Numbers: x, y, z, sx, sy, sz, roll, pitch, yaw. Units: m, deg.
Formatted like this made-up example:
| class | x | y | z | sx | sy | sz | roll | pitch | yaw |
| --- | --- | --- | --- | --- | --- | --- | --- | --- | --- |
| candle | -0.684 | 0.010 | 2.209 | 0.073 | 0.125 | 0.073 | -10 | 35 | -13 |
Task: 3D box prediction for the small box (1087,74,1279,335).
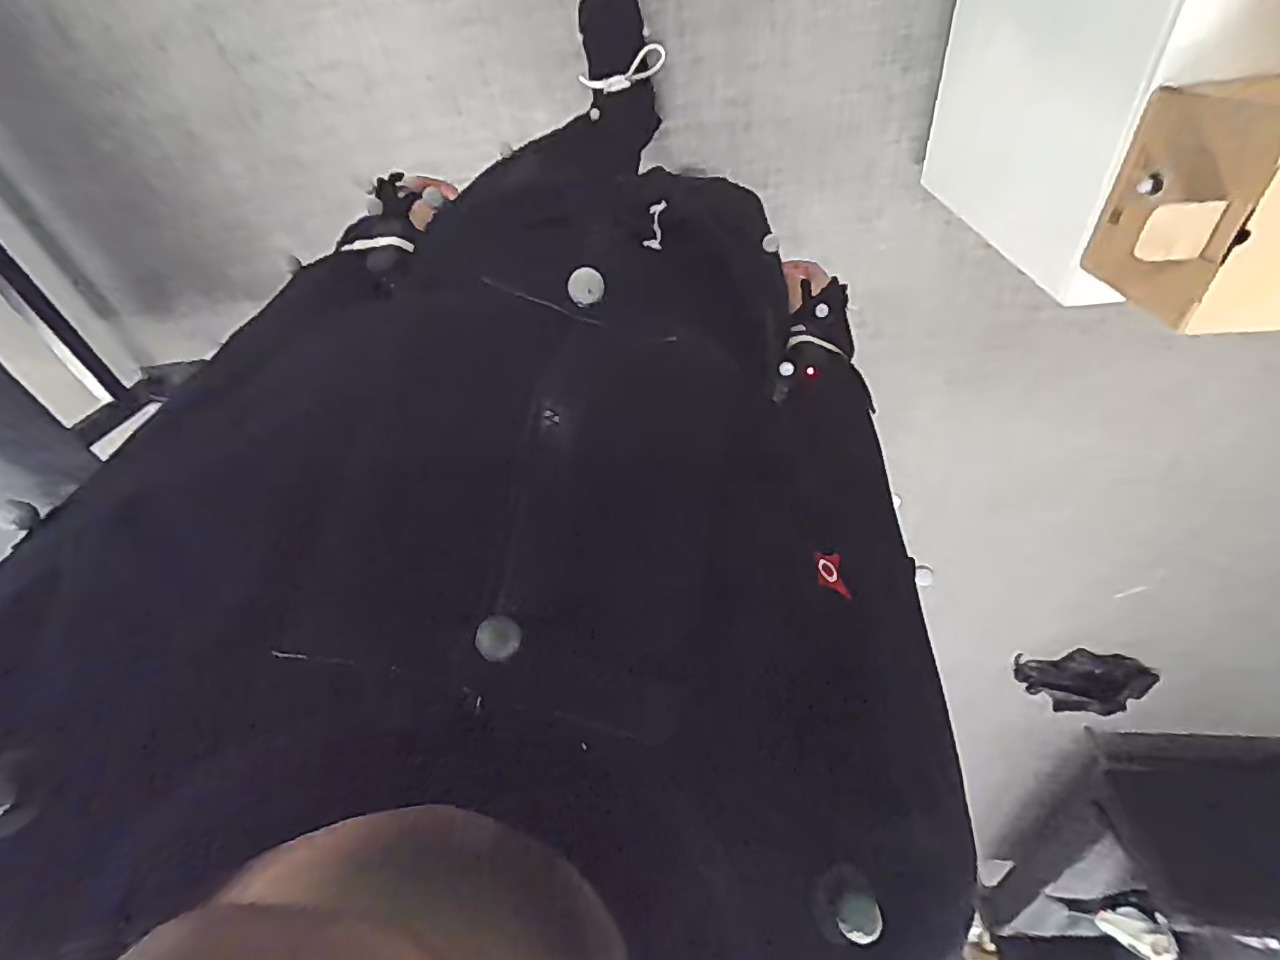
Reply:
| class | x | y | z | sx | sy | sz | roll | pitch | yaw |
| --- | --- | --- | --- | --- | --- | --- | --- | --- | --- |
| small box | 0.556 | -0.244 | 0.470 | 0.179 | 0.176 | 0.168 | -1 | 131 | 8 |
